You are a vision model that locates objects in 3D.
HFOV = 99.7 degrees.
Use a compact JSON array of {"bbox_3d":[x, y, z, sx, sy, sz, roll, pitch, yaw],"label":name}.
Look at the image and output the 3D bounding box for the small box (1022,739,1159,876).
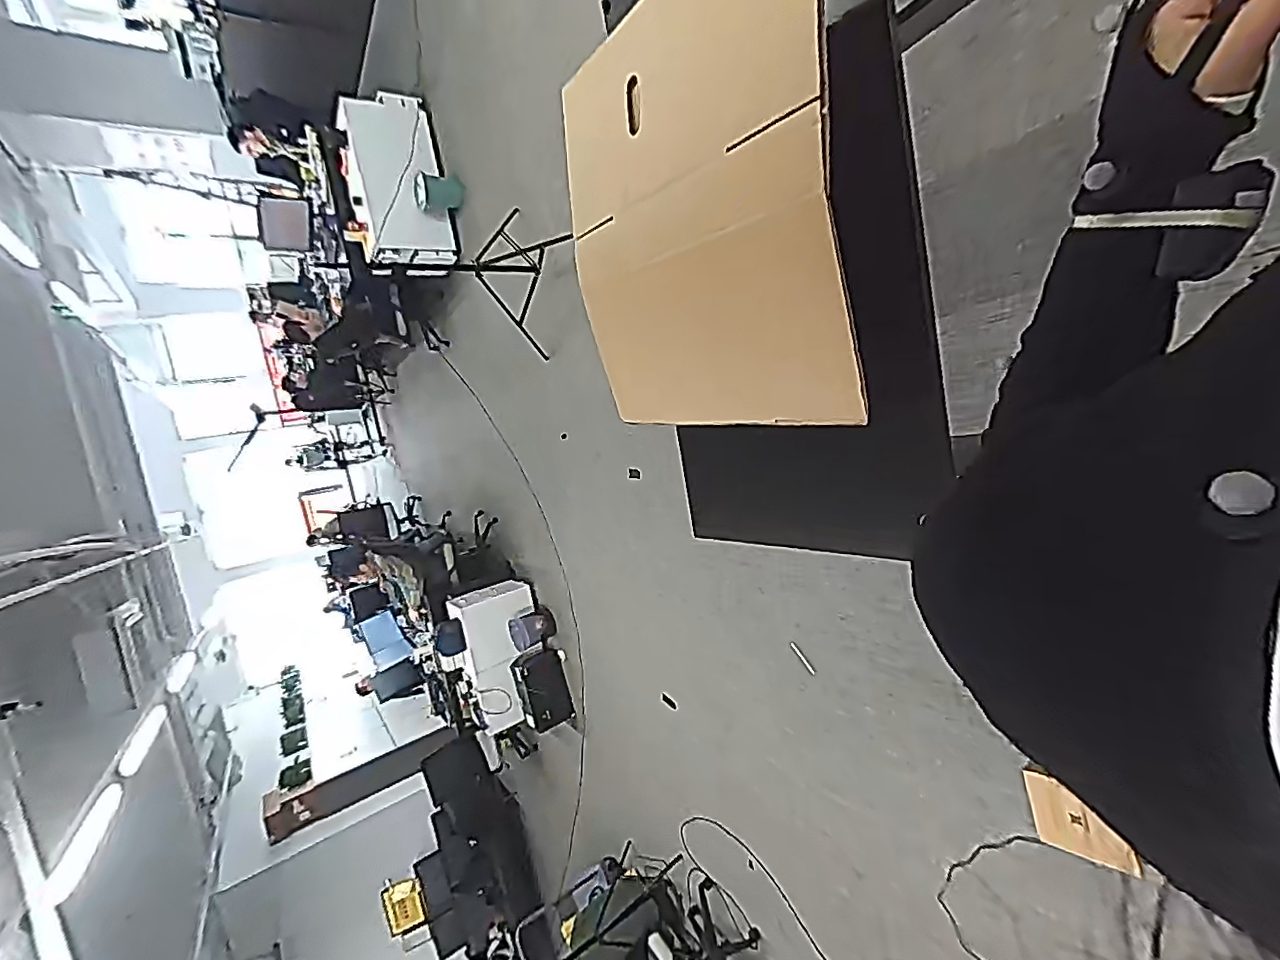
[{"bbox_3d":[0.969,0.685,1.158,0.179,0.176,0.168,-14,89,58],"label":"small box"}]
